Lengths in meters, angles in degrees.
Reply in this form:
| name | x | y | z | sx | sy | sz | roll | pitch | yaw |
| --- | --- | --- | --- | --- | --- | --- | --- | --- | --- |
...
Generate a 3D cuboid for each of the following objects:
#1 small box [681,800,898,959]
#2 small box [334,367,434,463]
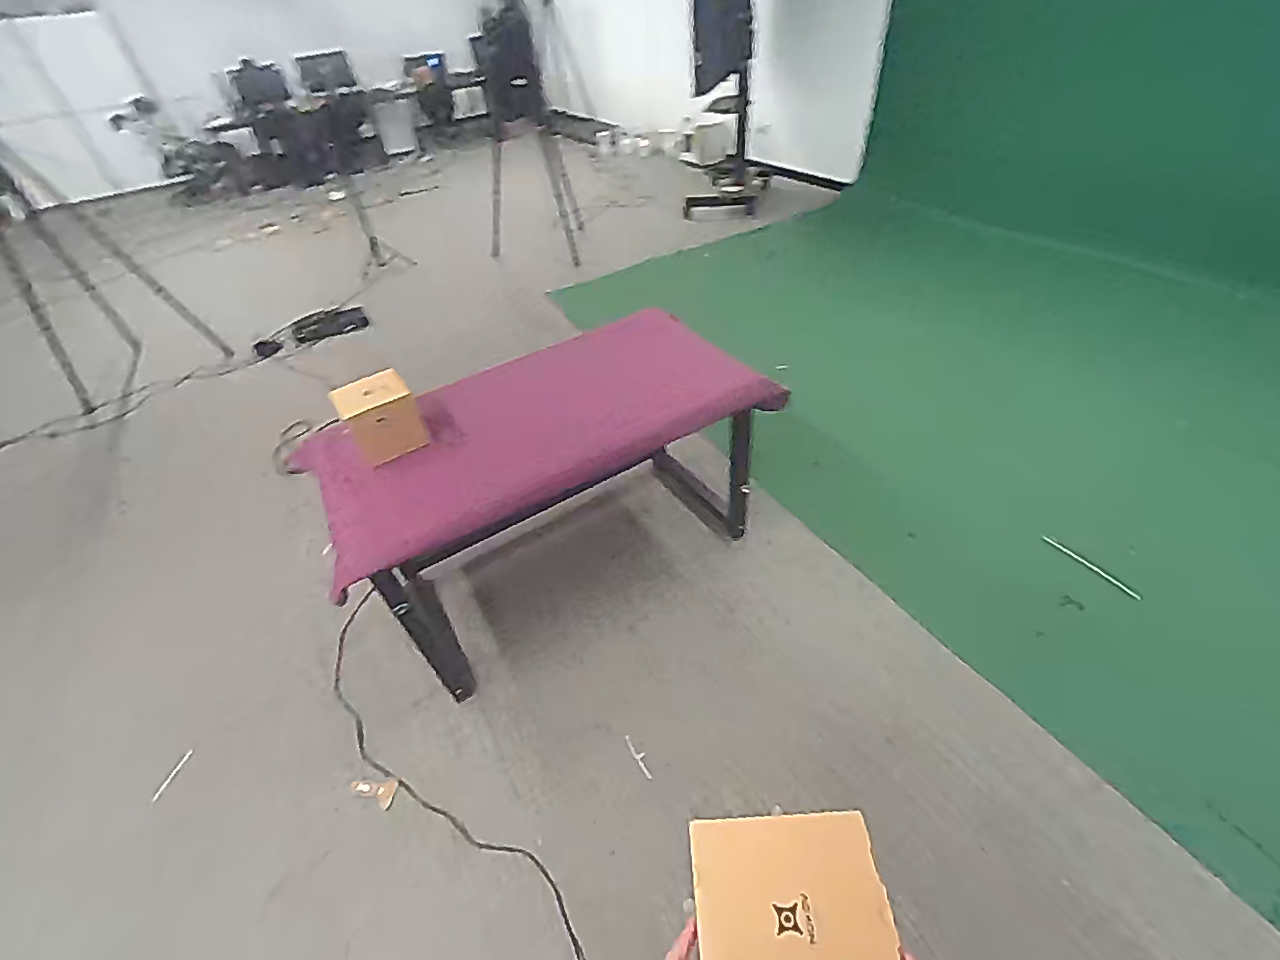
| name | x | y | z | sx | sy | sz | roll | pitch | yaw |
| --- | --- | --- | --- | --- | --- | --- | --- | --- | --- |
| small box | 0.139 | 0.441 | 0.541 | 0.179 | 0.176 | 0.168 | -5 | 45 | 2 |
| small box | -0.695 | -0.175 | 1.476 | 0.179 | 0.176 | 0.168 | -28 | 48 | -21 |
